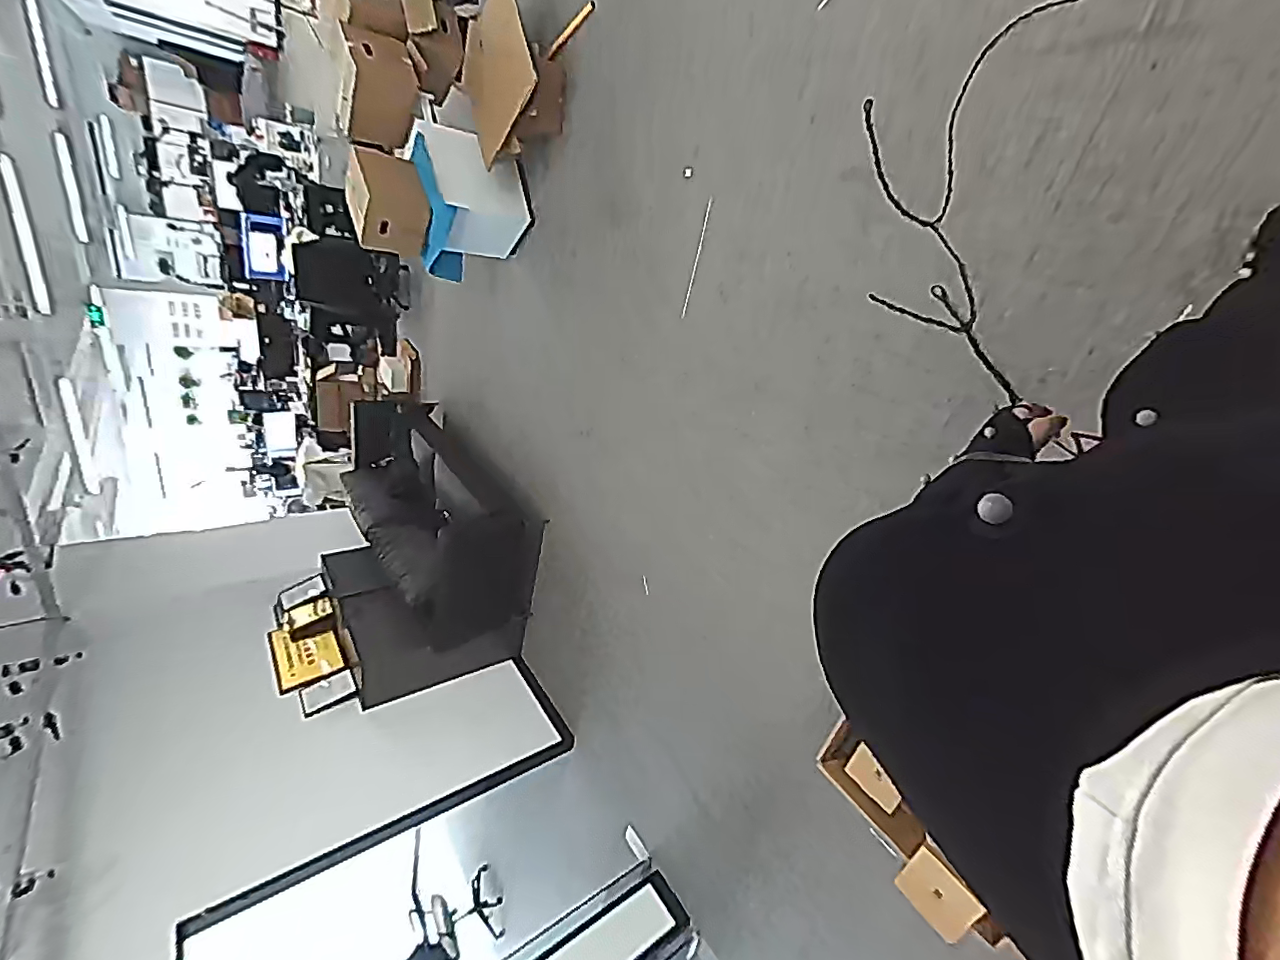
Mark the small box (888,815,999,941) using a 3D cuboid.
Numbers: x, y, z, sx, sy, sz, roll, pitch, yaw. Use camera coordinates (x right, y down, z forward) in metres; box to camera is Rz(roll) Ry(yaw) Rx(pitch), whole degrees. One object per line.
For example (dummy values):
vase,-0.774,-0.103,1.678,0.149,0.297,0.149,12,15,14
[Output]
small box,0.788,1.016,1.398,0.168,0.176,0.179,40,126,41
